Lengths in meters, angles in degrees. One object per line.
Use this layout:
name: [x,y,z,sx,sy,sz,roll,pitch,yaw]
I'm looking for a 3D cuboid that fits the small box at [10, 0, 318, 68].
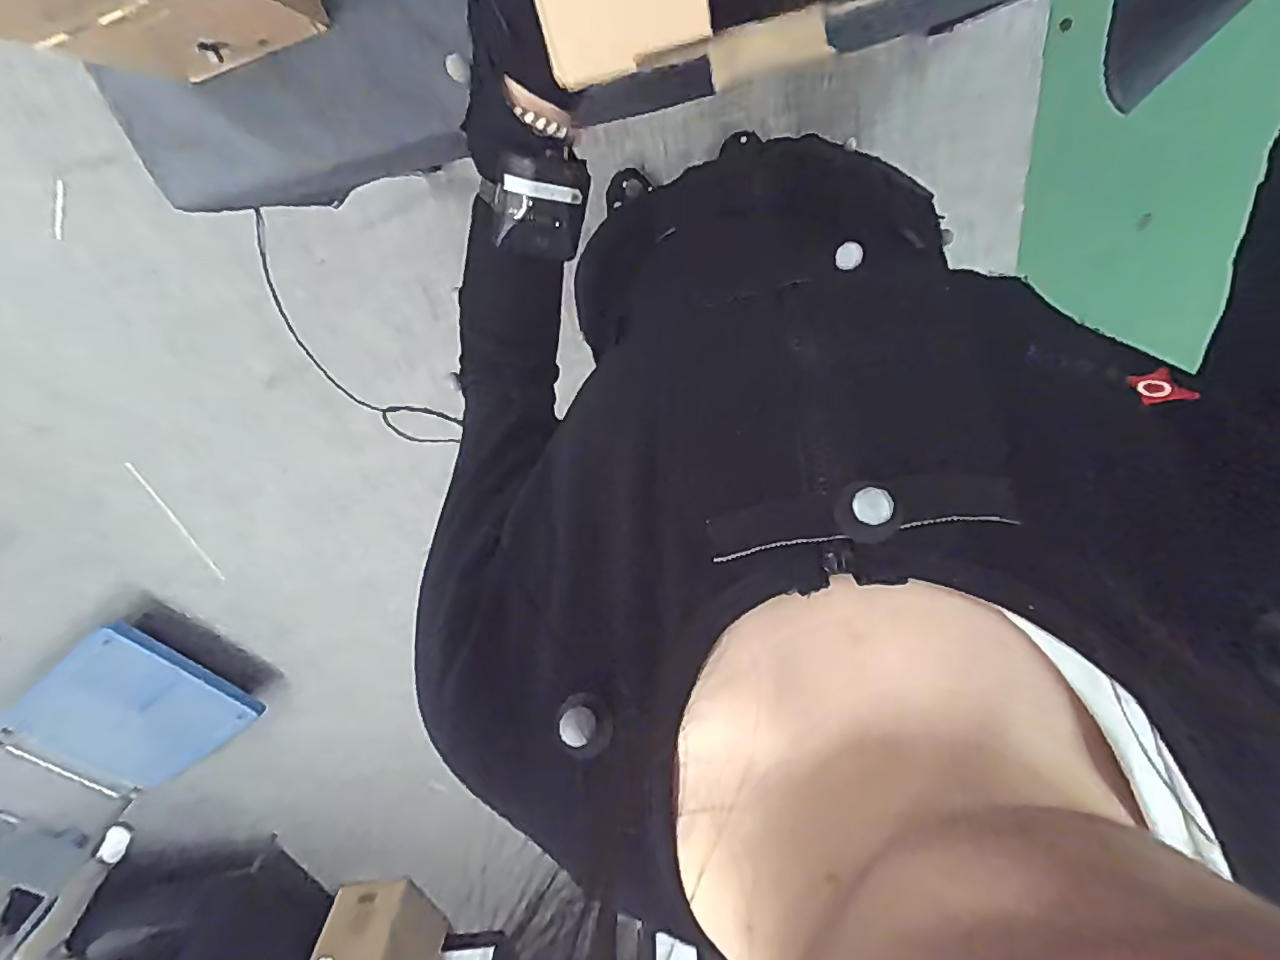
small box: [-0.405,-0.463,0.424,0.168,0.176,0.179,-14,120,8]
